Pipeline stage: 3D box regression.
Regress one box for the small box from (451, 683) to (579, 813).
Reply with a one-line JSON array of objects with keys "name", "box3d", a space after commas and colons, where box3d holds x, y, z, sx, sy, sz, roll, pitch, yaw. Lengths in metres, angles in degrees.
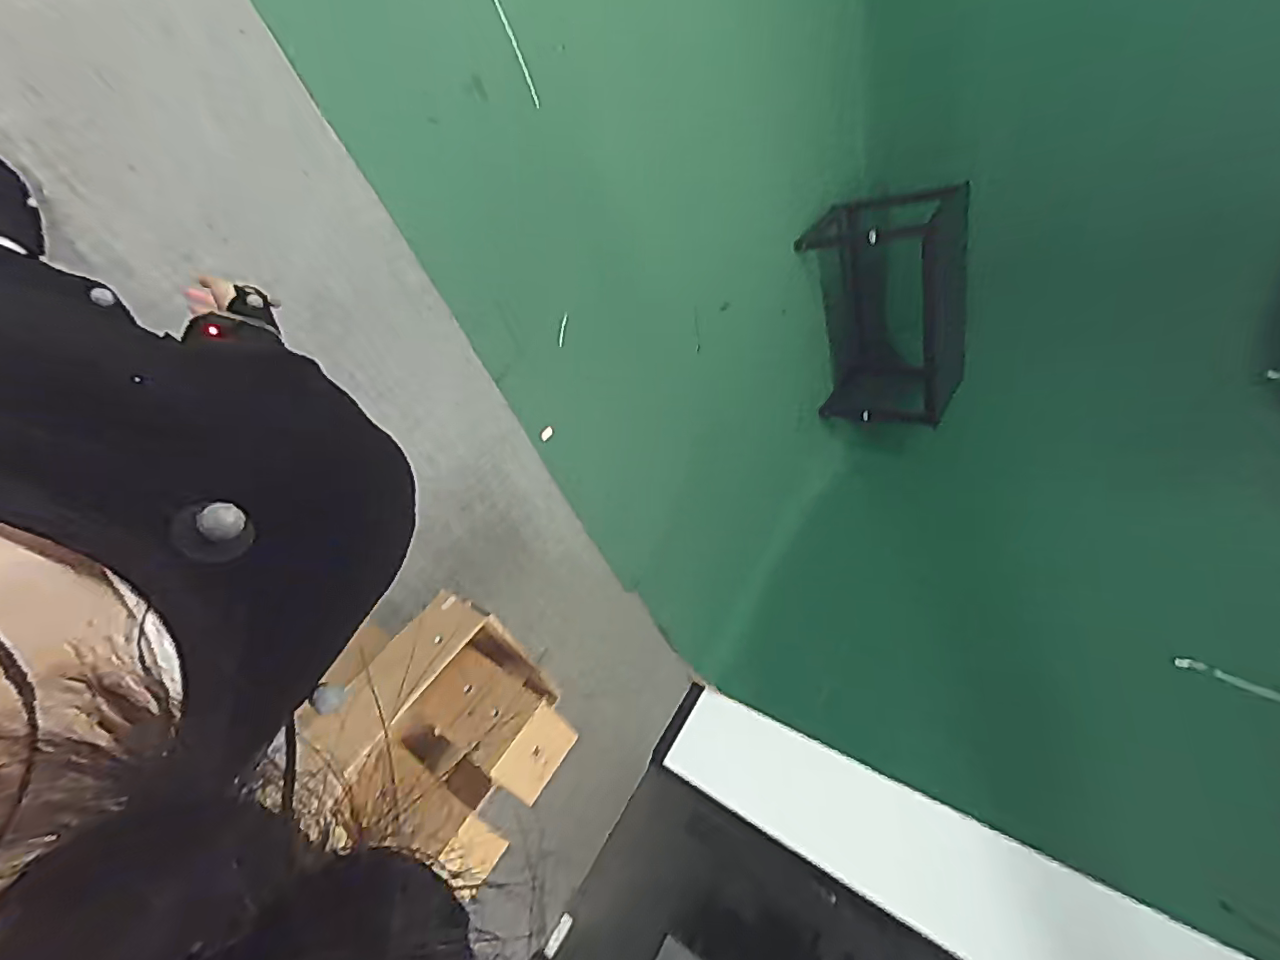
[{"name": "small box", "box3d": [-0.271, 0.566, 1.168, 0.168, 0.176, 0.179, -49, 132, -29]}]
